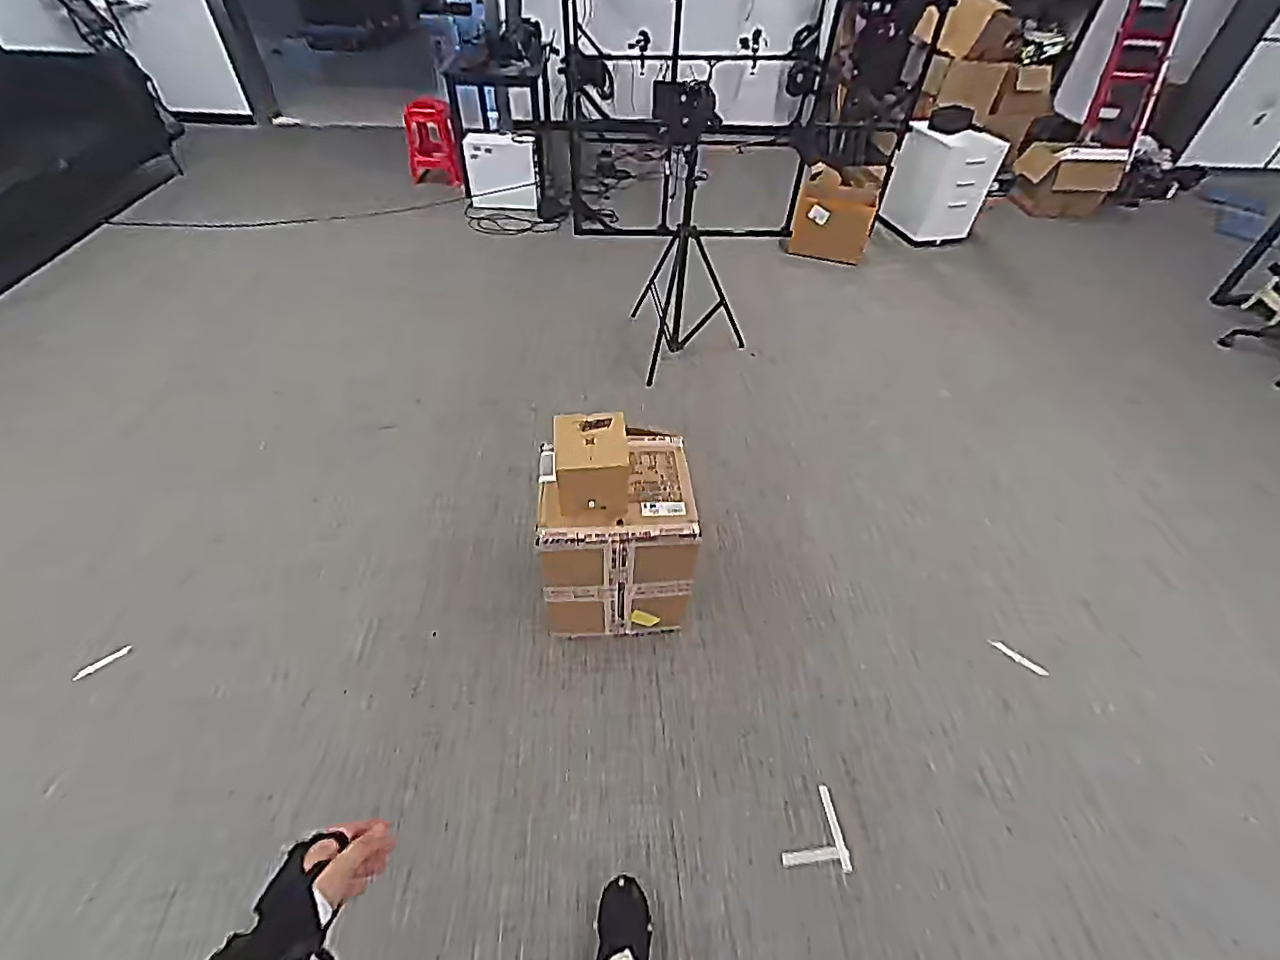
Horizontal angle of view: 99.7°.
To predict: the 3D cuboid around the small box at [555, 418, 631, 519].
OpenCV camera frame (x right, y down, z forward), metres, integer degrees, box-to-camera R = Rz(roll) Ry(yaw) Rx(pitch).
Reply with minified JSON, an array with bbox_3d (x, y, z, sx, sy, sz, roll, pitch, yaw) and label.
[{"bbox_3d":[-0.113,-0.027,1.288,0.168,0.176,0.179,-4,50,-5],"label":"small box"}]
